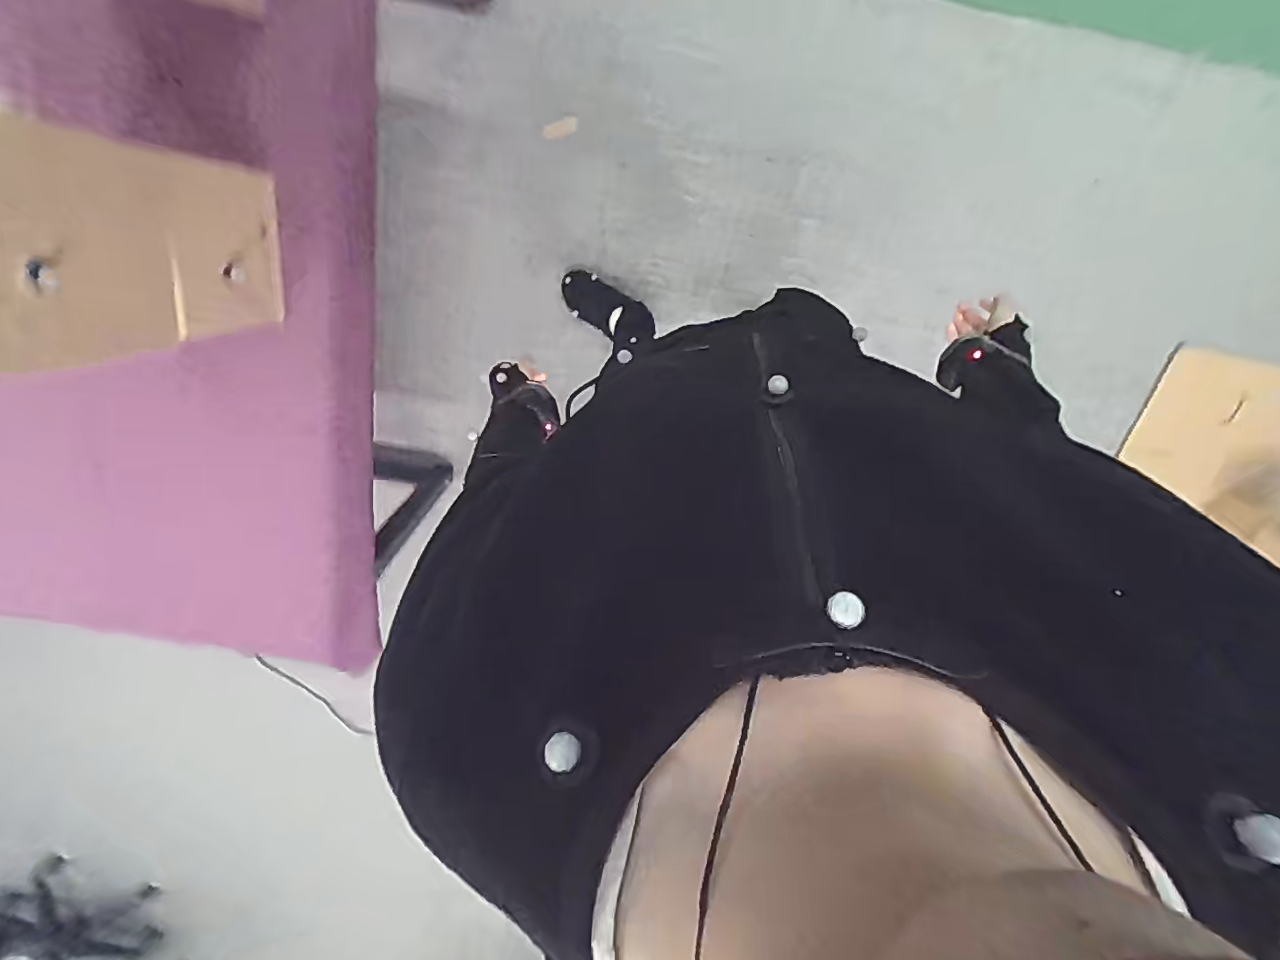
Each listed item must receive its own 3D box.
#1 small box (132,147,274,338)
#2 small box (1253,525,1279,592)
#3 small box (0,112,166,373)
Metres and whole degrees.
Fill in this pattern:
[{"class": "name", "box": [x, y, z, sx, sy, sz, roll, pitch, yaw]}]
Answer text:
[{"class": "small box", "box": [-0.522, -0.258, 0.572, 0.179, 0.176, 0.168, 9, 113, -3]}, {"class": "small box", "box": [1.770, 0.217, 1.400, 0.168, 0.176, 0.179, -8, 112, 1]}, {"class": "small box", "box": [-0.520, -0.194, 0.421, 0.168, 0.176, 0.179, 12, 112, -4]}]
